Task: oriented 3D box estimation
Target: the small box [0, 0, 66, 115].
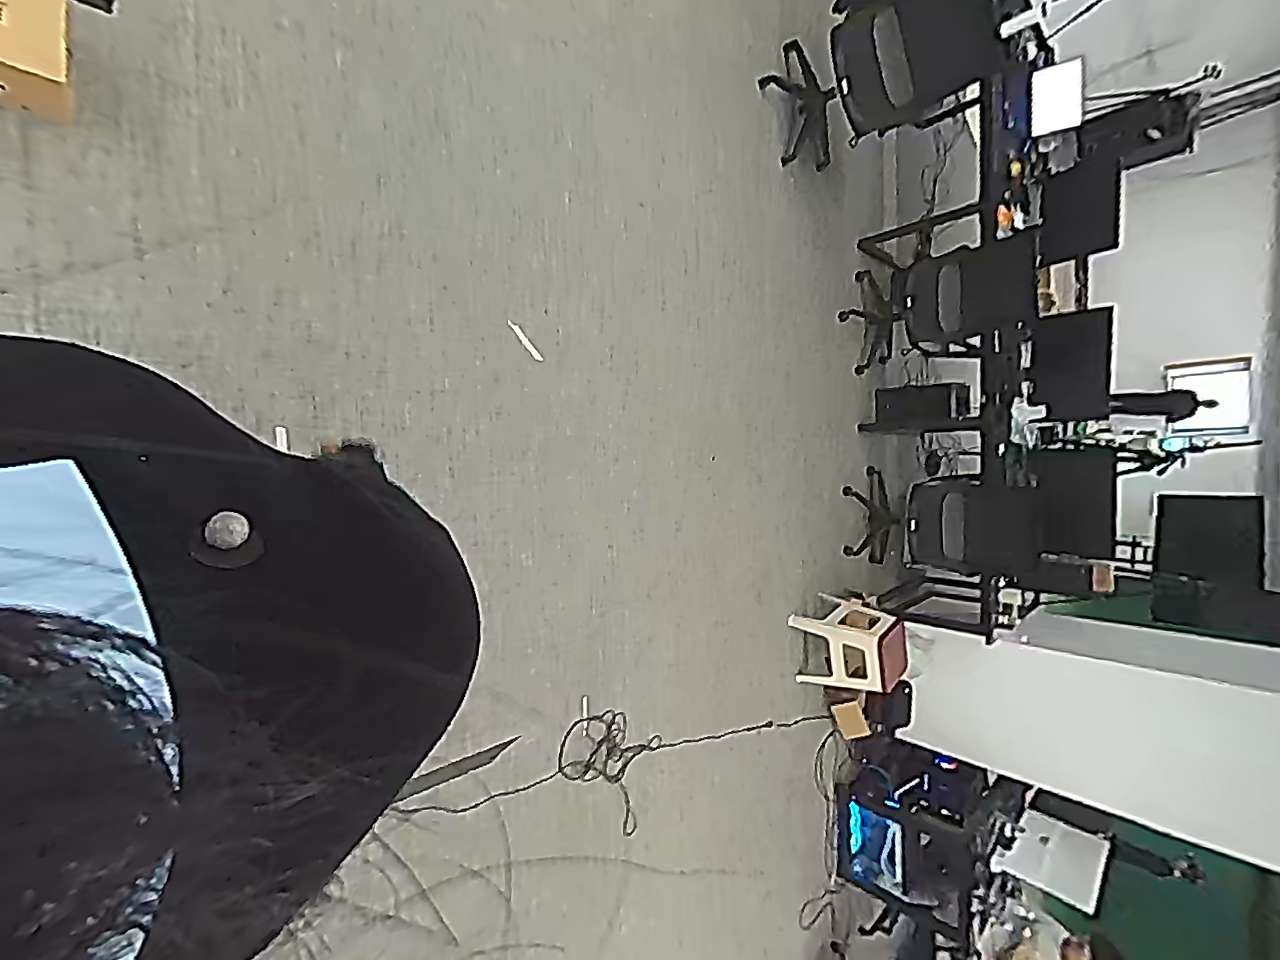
[{"bbox_3d":[-1.119,-0.782,0.934,0.168,0.176,0.179,1,90,-44],"label":"small box"}]
